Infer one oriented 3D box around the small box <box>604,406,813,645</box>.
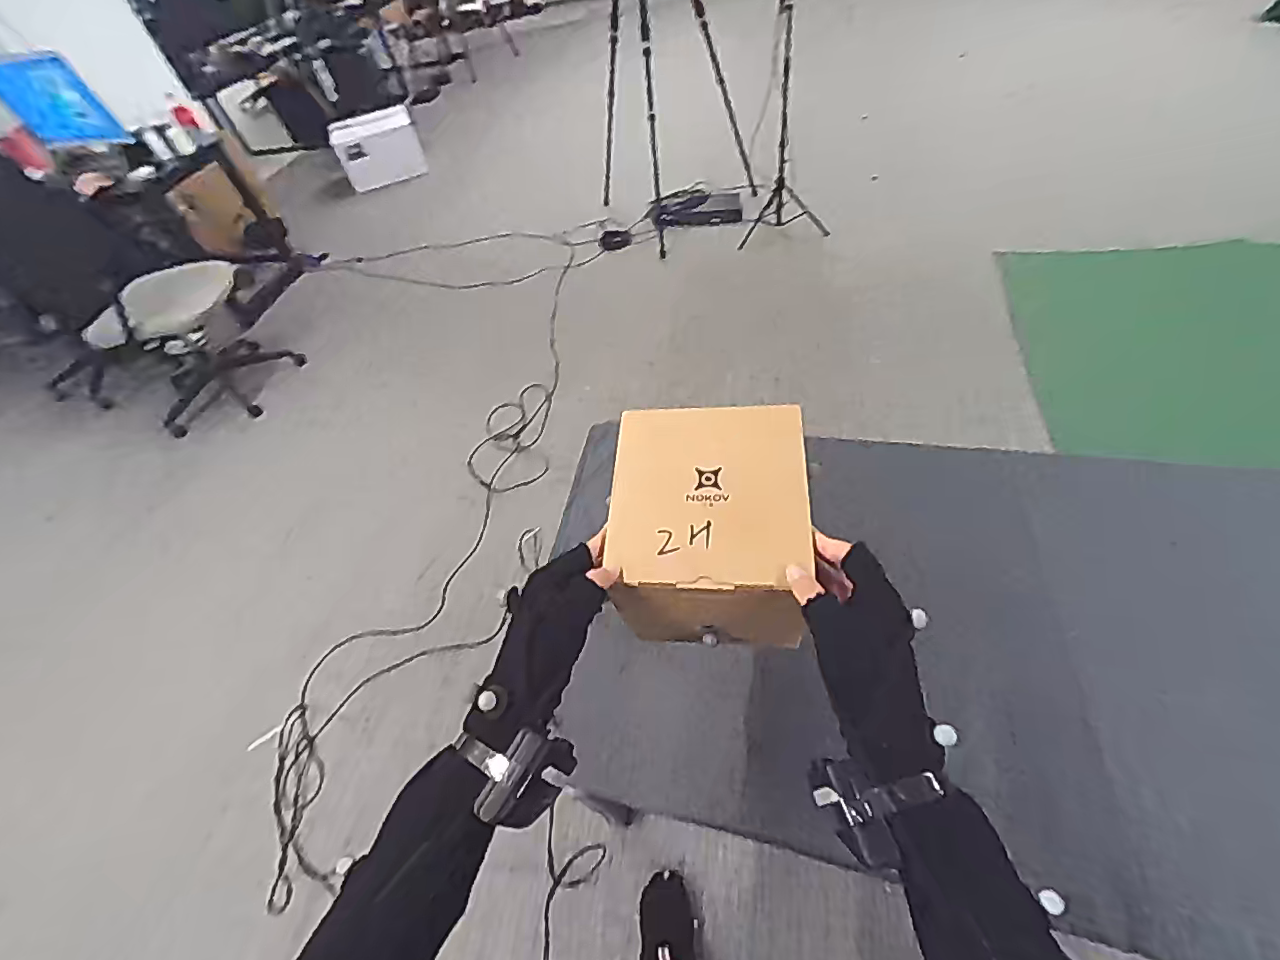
[{"bbox_3d":[0.071,0.047,0.529,0.168,0.176,0.179,0,59,11],"label":"small box"}]
